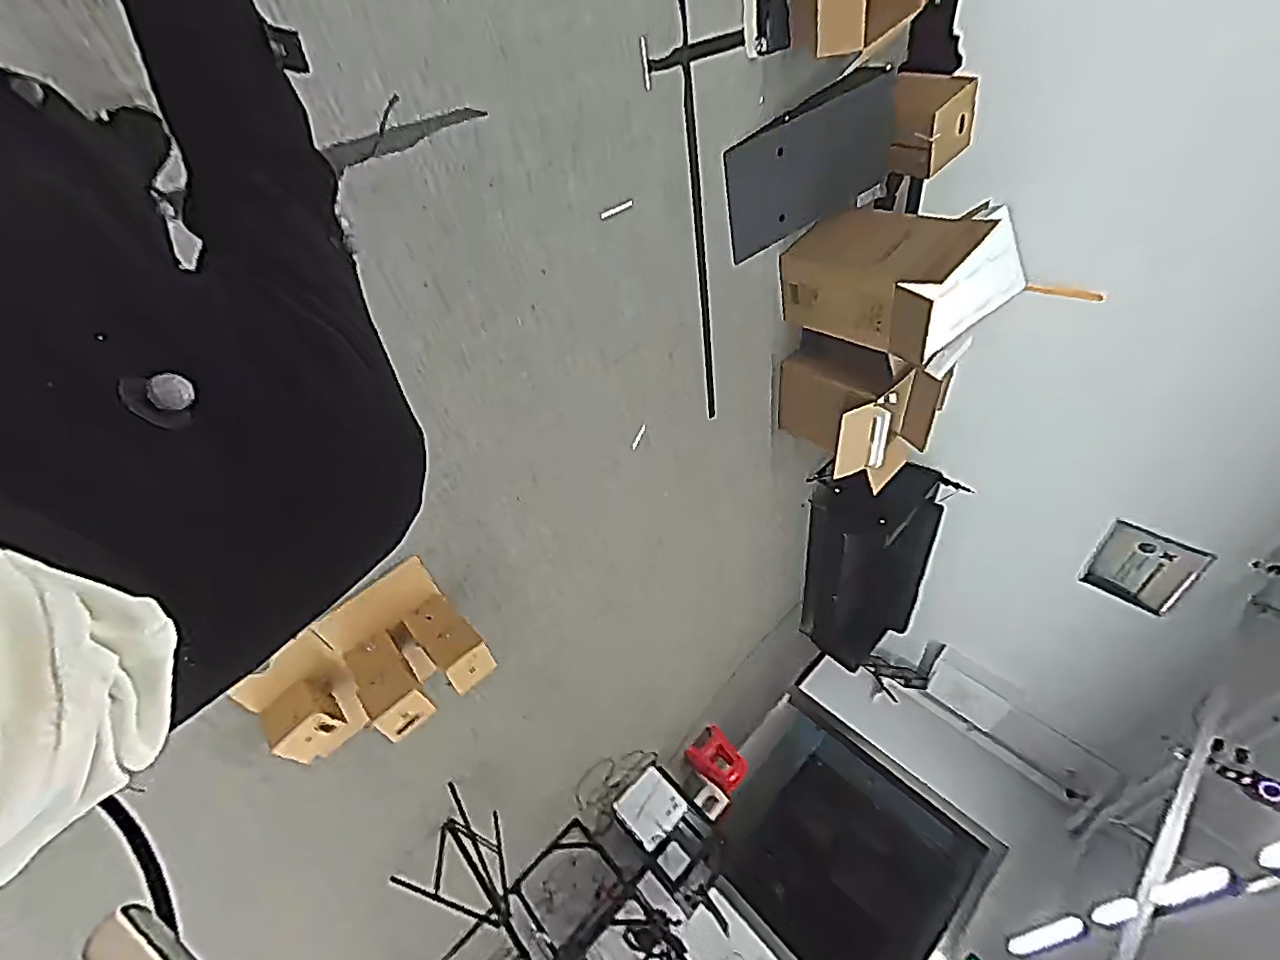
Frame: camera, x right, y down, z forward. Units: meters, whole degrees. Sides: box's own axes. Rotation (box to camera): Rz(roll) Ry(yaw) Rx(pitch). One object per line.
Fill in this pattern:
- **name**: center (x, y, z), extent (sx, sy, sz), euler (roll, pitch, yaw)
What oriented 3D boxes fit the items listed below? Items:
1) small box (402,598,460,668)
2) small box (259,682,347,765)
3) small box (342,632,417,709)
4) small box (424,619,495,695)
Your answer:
- **small box**: center (-0.795, 0.587, 2.111), extent (0.168, 0.176, 0.179), euler (-36, 138, -27)
- **small box**: center (-1.165, 0.834, 1.862), extent (0.179, 0.176, 0.168), euler (-44, 141, -18)
- **small box**: center (-0.963, 0.699, 2.000), extent (0.168, 0.176, 0.179), euler (-35, 138, -28)
- **small box**: center (-0.674, 0.657, 2.023), extent (0.168, 0.176, 0.179), euler (-36, 138, -28)
